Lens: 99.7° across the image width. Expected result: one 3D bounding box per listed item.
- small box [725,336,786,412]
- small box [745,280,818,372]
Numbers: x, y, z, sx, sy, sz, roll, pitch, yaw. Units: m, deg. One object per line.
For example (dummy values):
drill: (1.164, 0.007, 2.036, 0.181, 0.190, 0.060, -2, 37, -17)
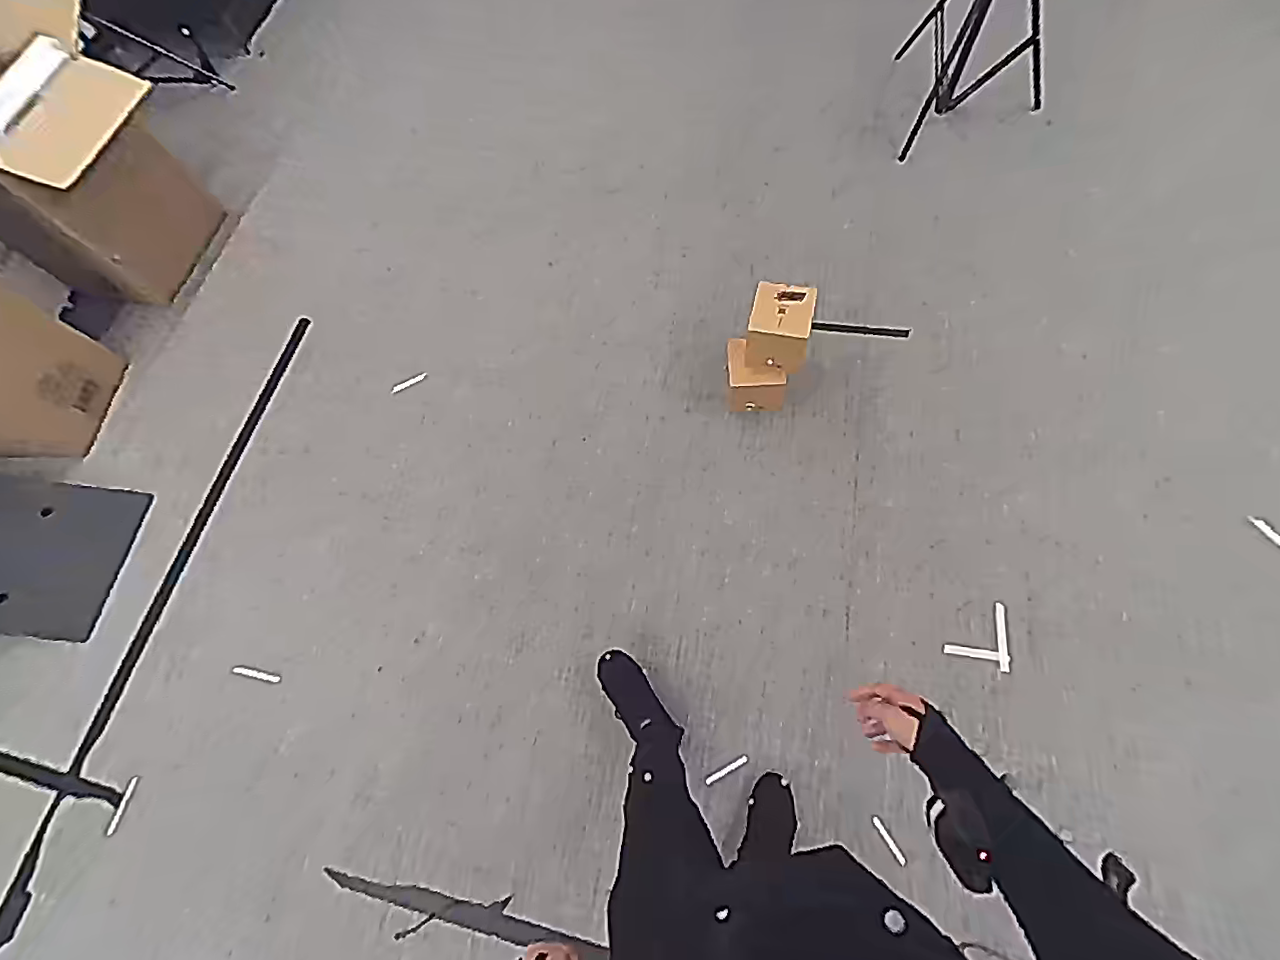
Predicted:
small box: (0.352, -0.329, 1.682, 0.168, 0.176, 0.179, -2, 68, 6)
small box: (0.398, -0.437, 1.543, 0.168, 0.176, 0.179, 12, 70, 12)
